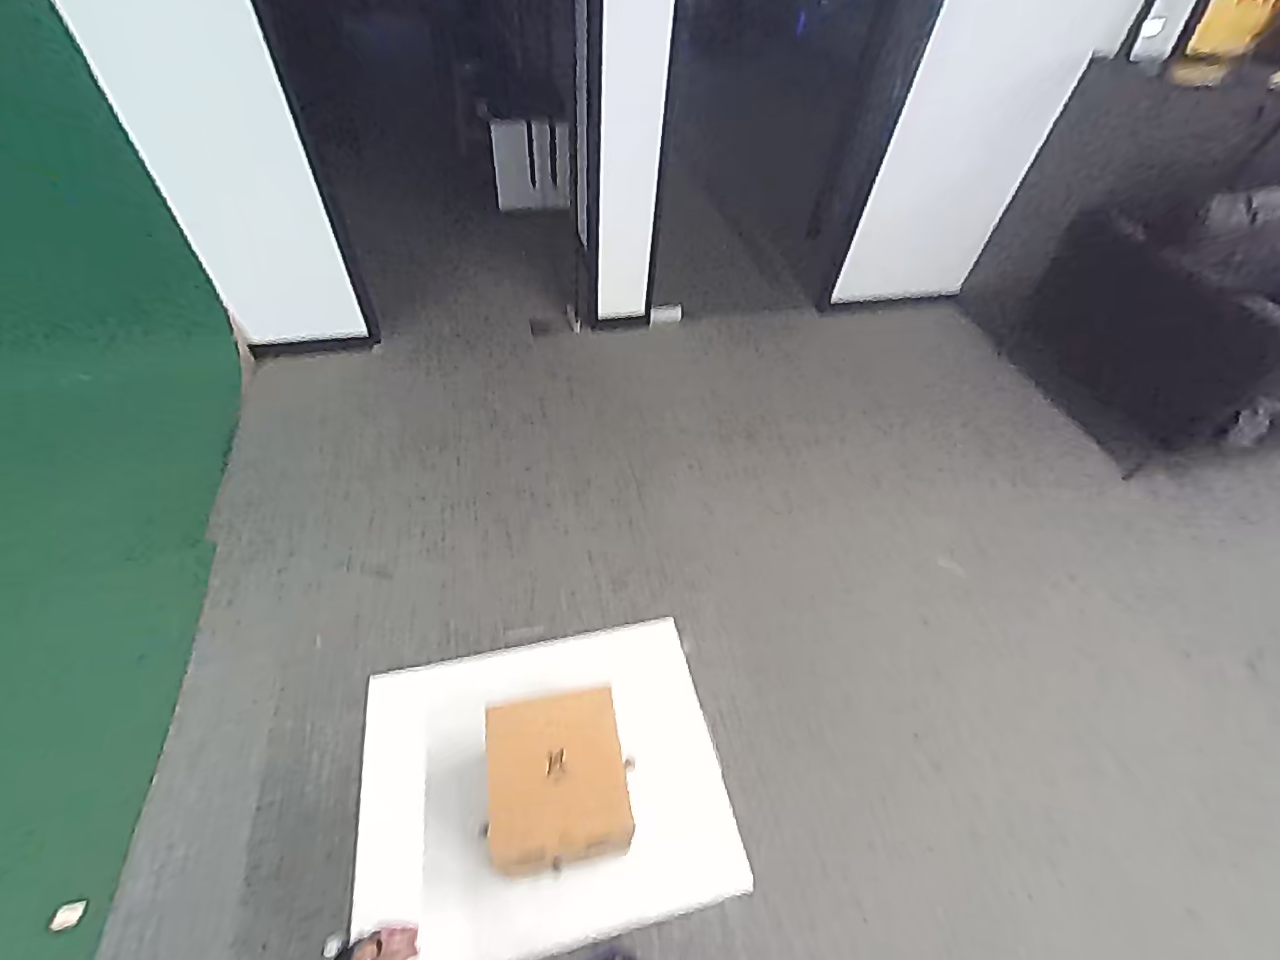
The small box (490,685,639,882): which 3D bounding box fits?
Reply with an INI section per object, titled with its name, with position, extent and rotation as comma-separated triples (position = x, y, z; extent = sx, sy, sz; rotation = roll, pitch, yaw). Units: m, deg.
[small box]
position = -0.104, 0.398, 0.711
extent = 0.168, 0.176, 0.179
rotation = -7, 50, -11
